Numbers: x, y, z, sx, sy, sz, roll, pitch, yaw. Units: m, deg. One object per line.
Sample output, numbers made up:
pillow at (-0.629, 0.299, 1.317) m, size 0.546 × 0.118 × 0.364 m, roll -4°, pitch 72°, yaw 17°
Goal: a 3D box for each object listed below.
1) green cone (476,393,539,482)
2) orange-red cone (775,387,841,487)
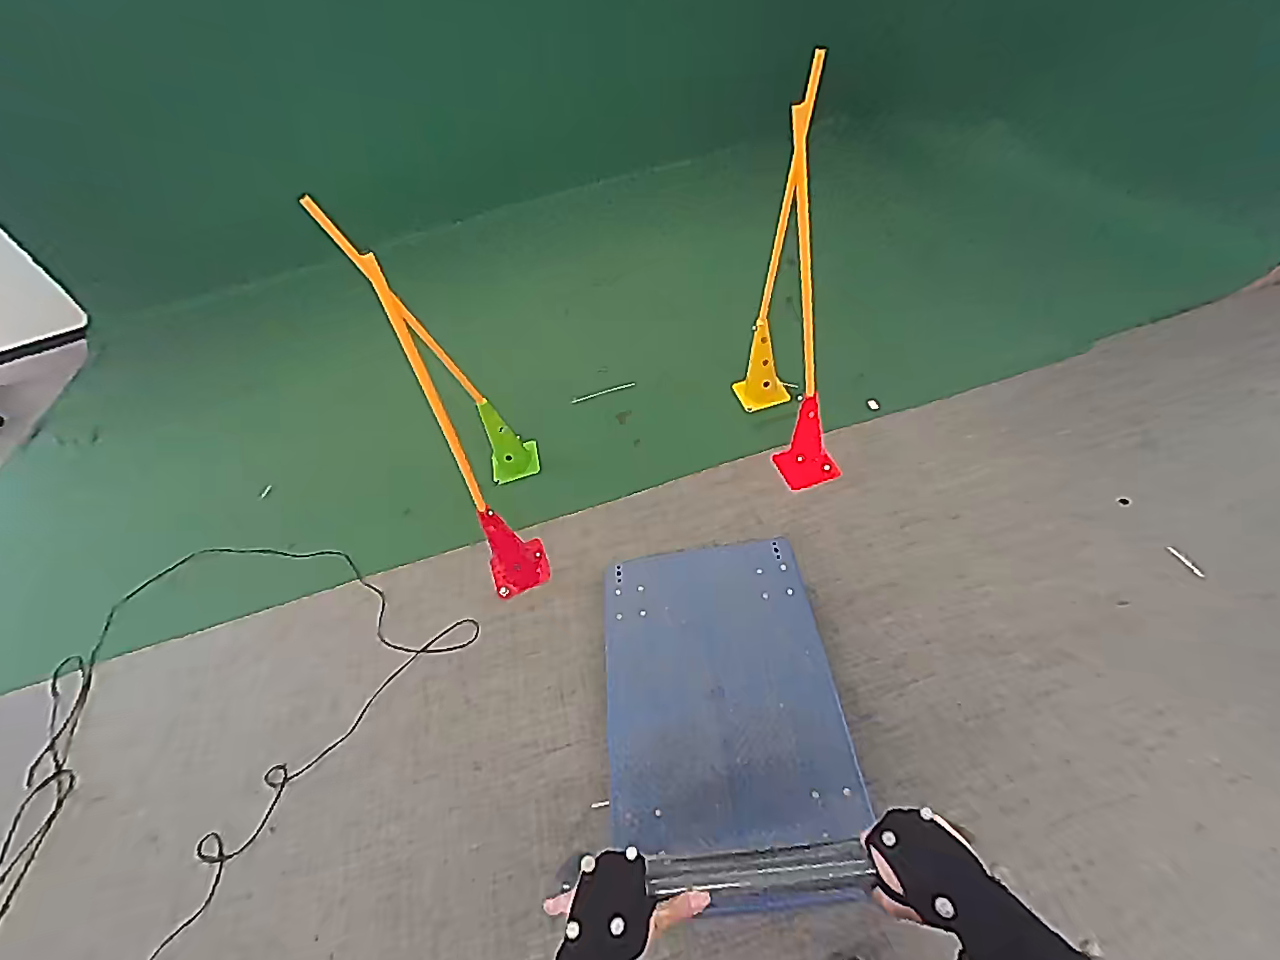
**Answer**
green cone at (-0.563, -0.198, 2.175) m, size 0.200 × 0.368 × 0.202 m, roll -18°, pitch 47°, yaw -1°
orange-red cone at (0.591, -0.176, 1.887) m, size 0.198 × 0.360 × 0.199 m, roll -17°, pitch 46°, yaw -2°
